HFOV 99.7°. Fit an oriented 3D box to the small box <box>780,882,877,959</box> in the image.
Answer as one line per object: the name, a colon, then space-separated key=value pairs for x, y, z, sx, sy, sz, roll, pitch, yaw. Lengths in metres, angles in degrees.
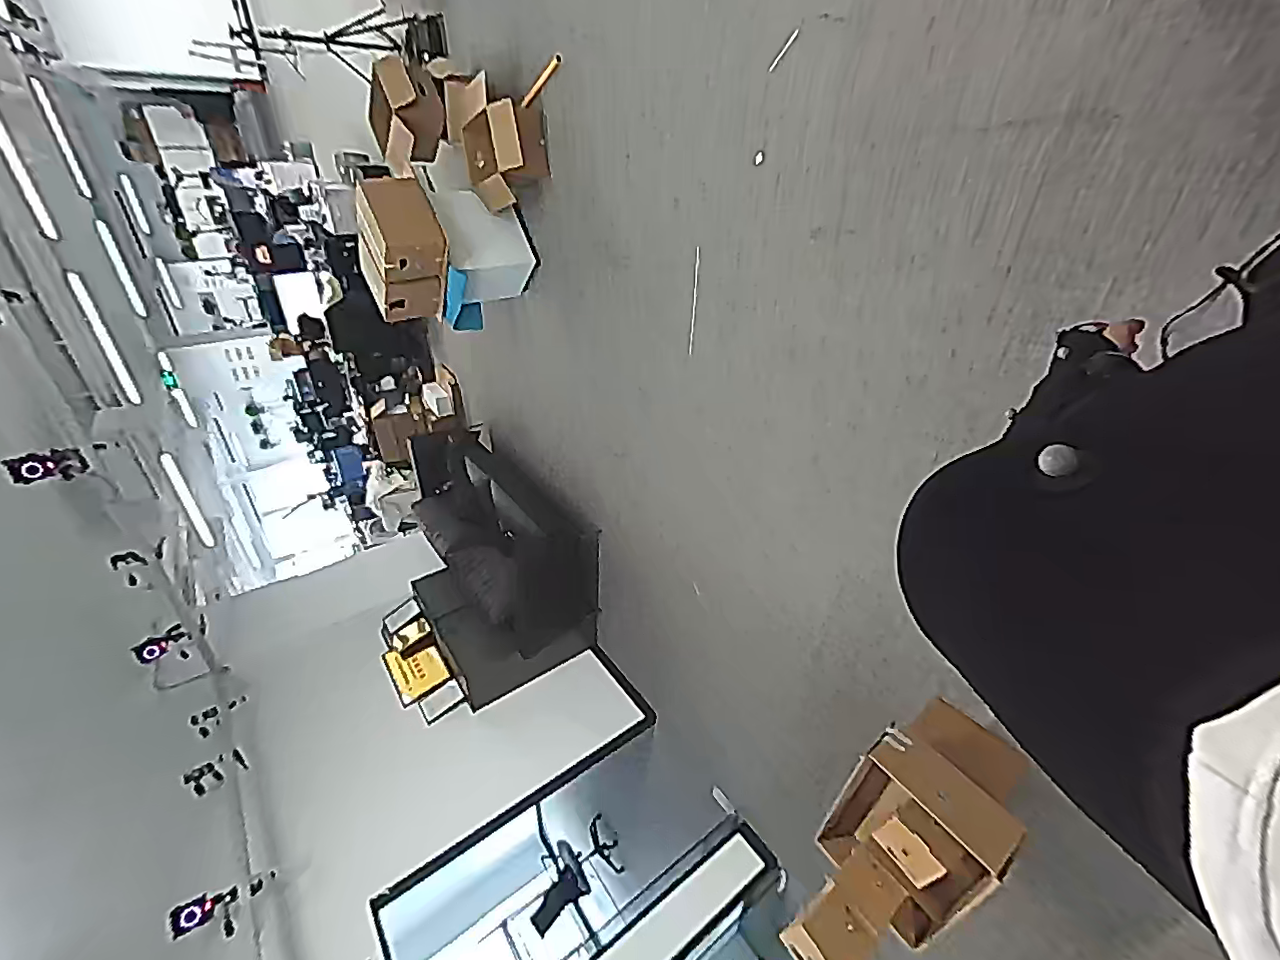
small box: x=0.541 y=1.305 z=1.549 sx=0.168 sy=0.176 sz=0.179 roll=46 pitch=139 yaw=33

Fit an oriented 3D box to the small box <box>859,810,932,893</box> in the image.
small box: x=0.797 y=1.208 z=1.726 sx=0.168 sy=0.176 sz=0.179 roll=38 pitch=135 yaw=39

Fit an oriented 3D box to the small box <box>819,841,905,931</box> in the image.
small box: x=0.669 y=1.253 z=1.638 sx=0.168 sy=0.176 sz=0.179 roll=38 pitch=135 yaw=40
